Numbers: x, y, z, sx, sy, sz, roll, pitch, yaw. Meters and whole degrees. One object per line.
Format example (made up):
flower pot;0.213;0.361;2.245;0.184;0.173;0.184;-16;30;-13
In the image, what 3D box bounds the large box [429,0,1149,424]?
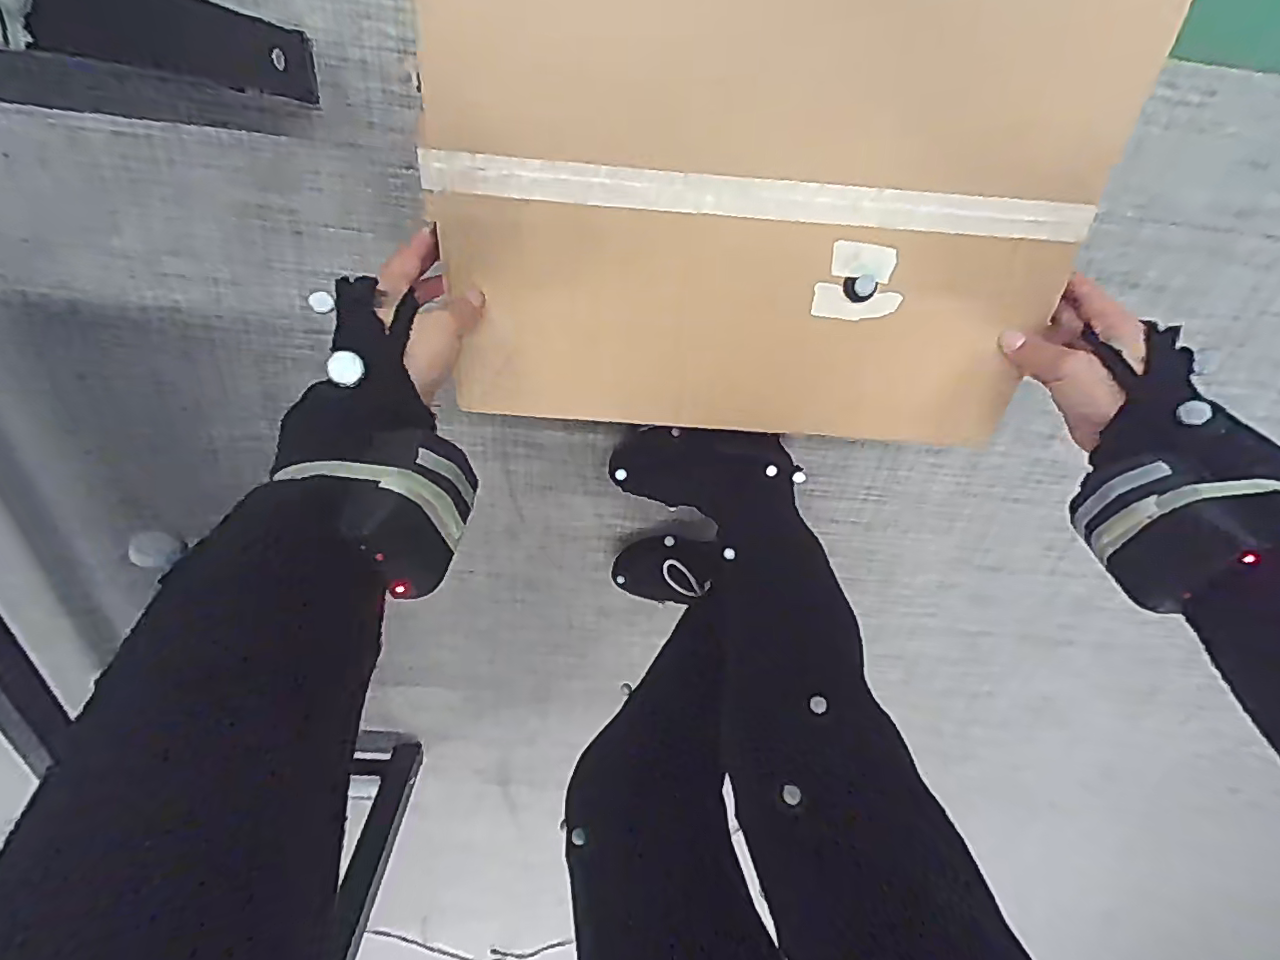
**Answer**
large box;0.074;-0.255;0.472;0.408;0.320;0.320;2;120;-3
